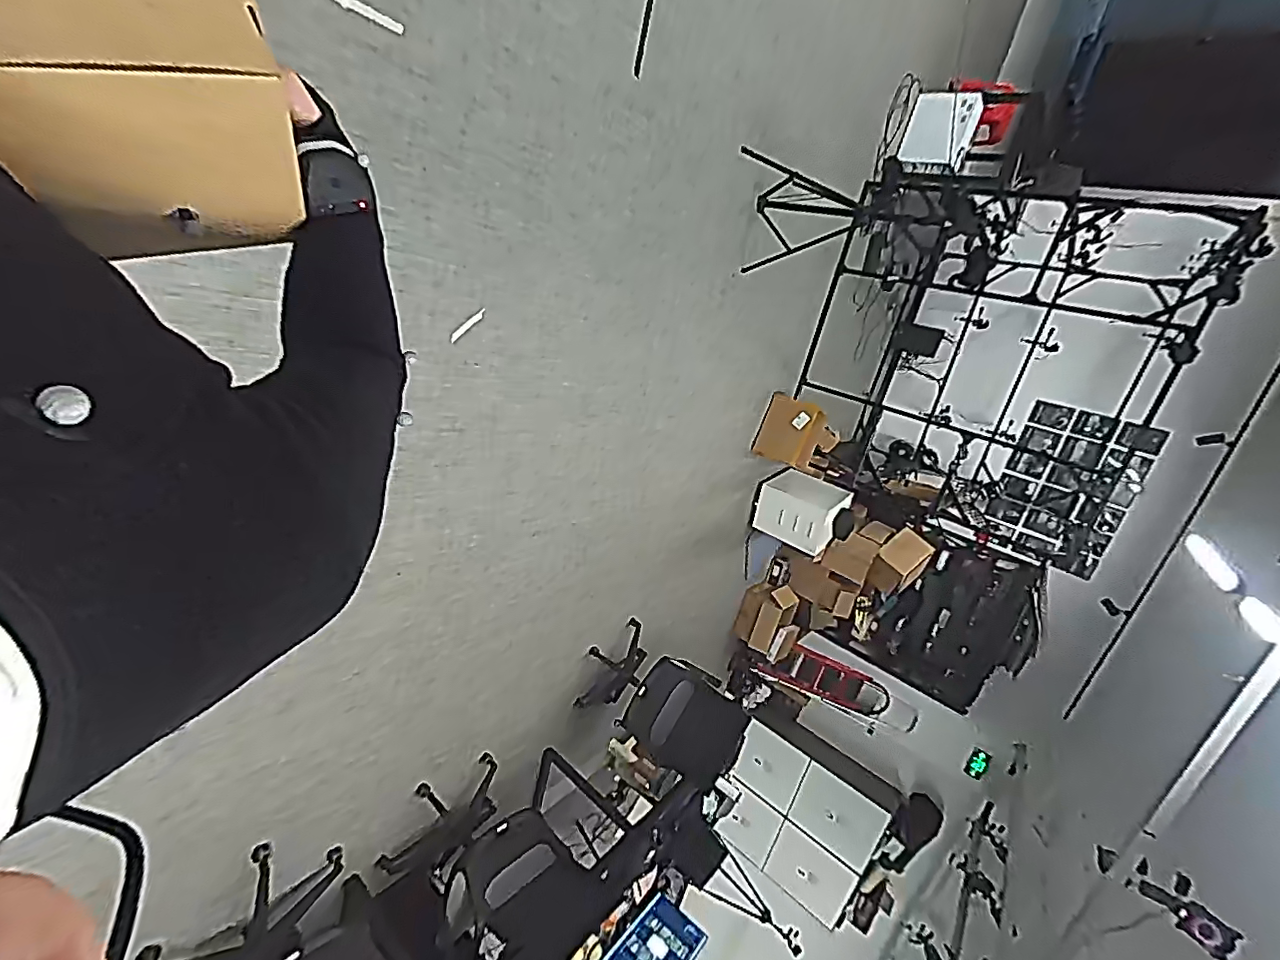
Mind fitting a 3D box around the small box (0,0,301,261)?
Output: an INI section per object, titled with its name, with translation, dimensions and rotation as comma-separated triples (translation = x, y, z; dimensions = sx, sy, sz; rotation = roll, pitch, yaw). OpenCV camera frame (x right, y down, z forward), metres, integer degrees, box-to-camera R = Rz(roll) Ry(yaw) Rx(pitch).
[small box]
translation = -0.389, -0.299, 0.423
dimensions = 0.179, 0.168, 0.176
rotation = -23, 173, -31
